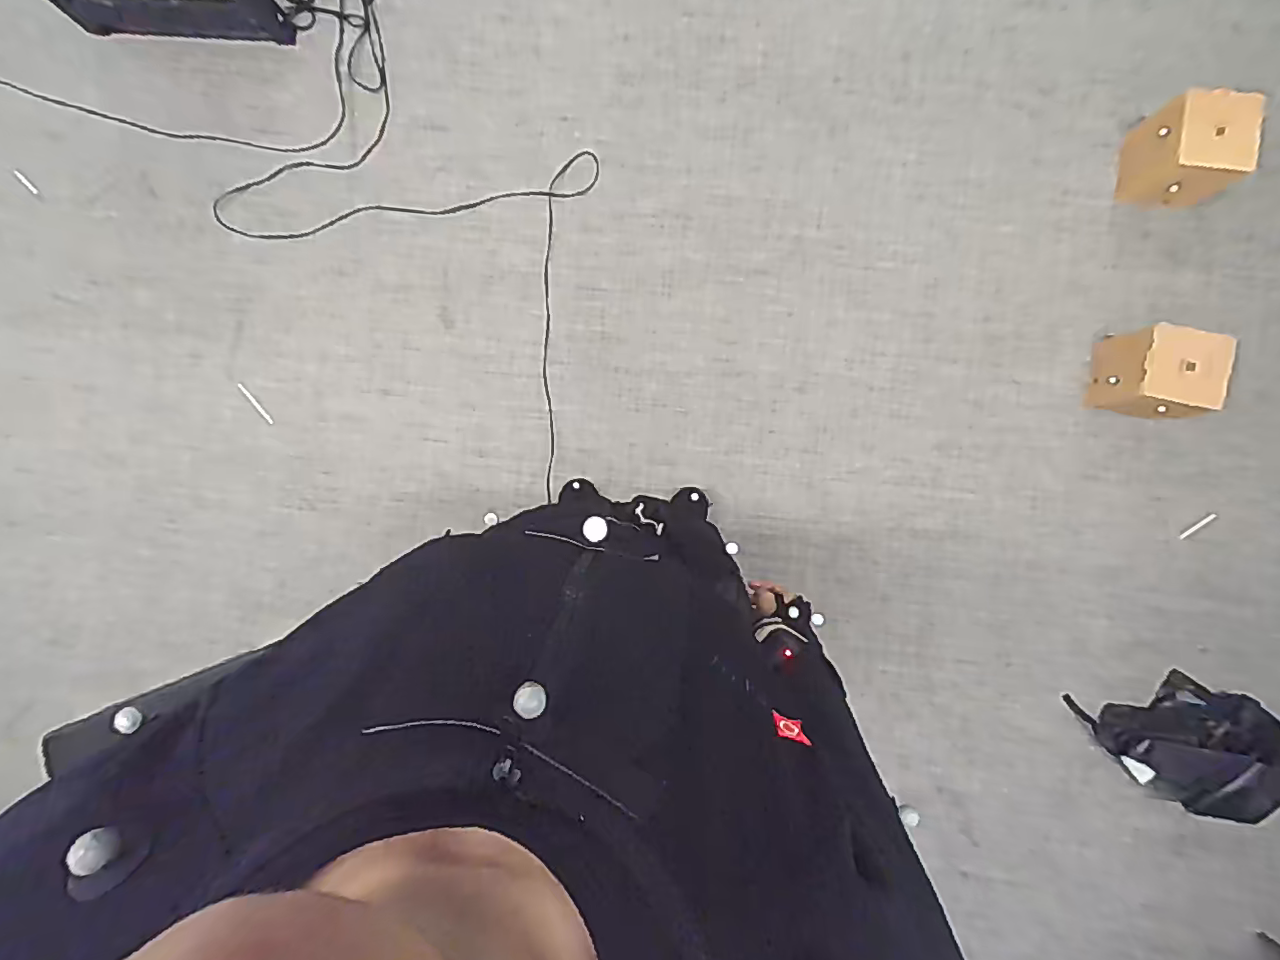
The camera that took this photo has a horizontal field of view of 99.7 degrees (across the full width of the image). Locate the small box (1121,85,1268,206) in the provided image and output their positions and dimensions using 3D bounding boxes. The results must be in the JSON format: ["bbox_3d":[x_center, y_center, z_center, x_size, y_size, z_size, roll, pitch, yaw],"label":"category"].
[{"bbox_3d":[1.275,-0.768,1.258,0.168,0.176,0.179,8,89,3],"label":"small box"}]

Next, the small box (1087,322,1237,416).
[{"bbox_3d":[1.198,-0.250,1.256,0.179,0.176,0.168,12,91,2],"label":"small box"}]
